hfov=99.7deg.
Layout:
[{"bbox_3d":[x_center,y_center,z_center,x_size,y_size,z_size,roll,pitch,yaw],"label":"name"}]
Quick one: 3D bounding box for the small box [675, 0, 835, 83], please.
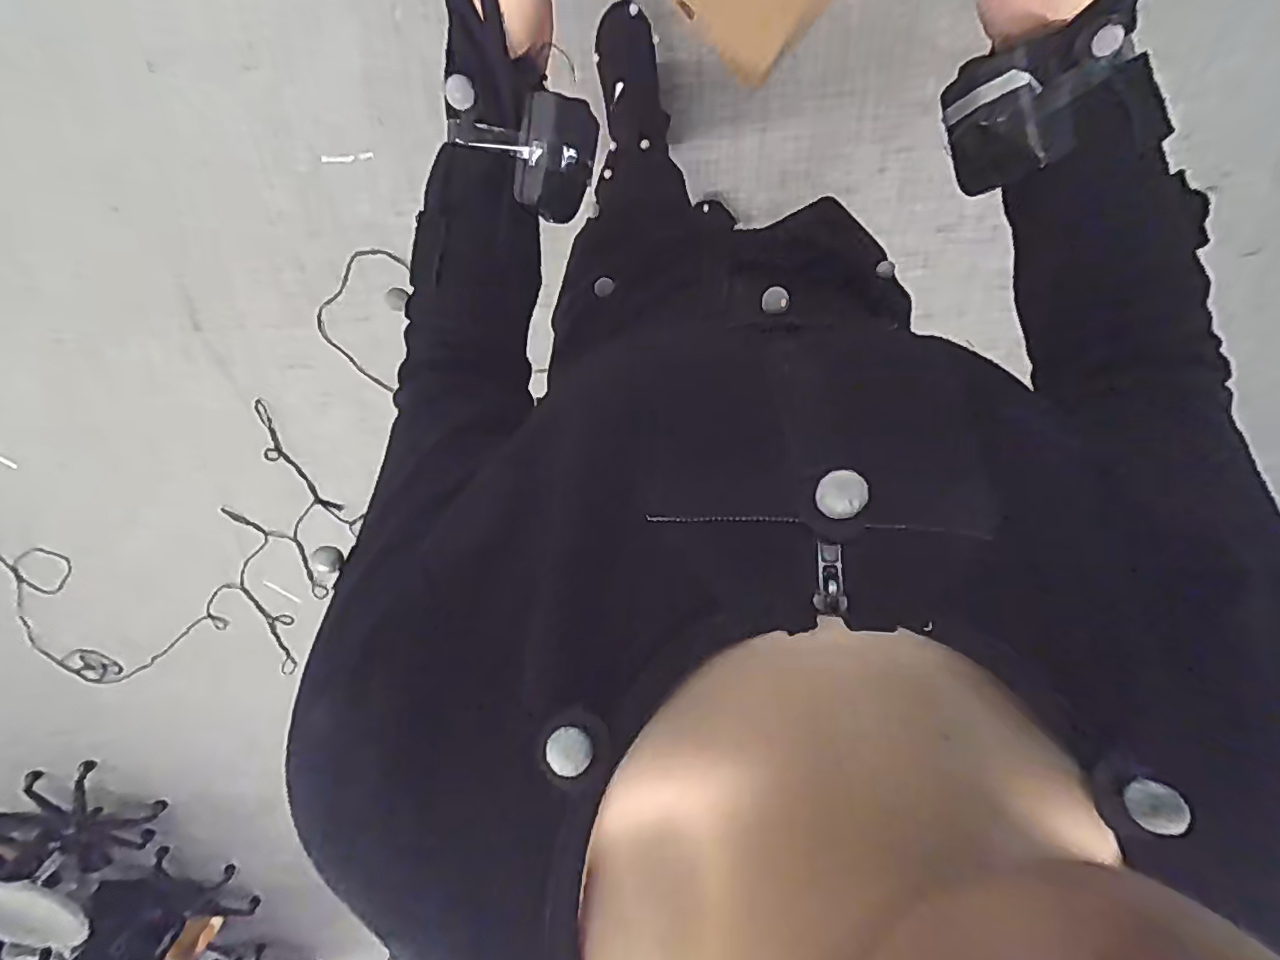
[{"bbox_3d":[0.066,-0.329,0.238,0.168,0.176,0.179,42,108,-13],"label":"small box"}]
